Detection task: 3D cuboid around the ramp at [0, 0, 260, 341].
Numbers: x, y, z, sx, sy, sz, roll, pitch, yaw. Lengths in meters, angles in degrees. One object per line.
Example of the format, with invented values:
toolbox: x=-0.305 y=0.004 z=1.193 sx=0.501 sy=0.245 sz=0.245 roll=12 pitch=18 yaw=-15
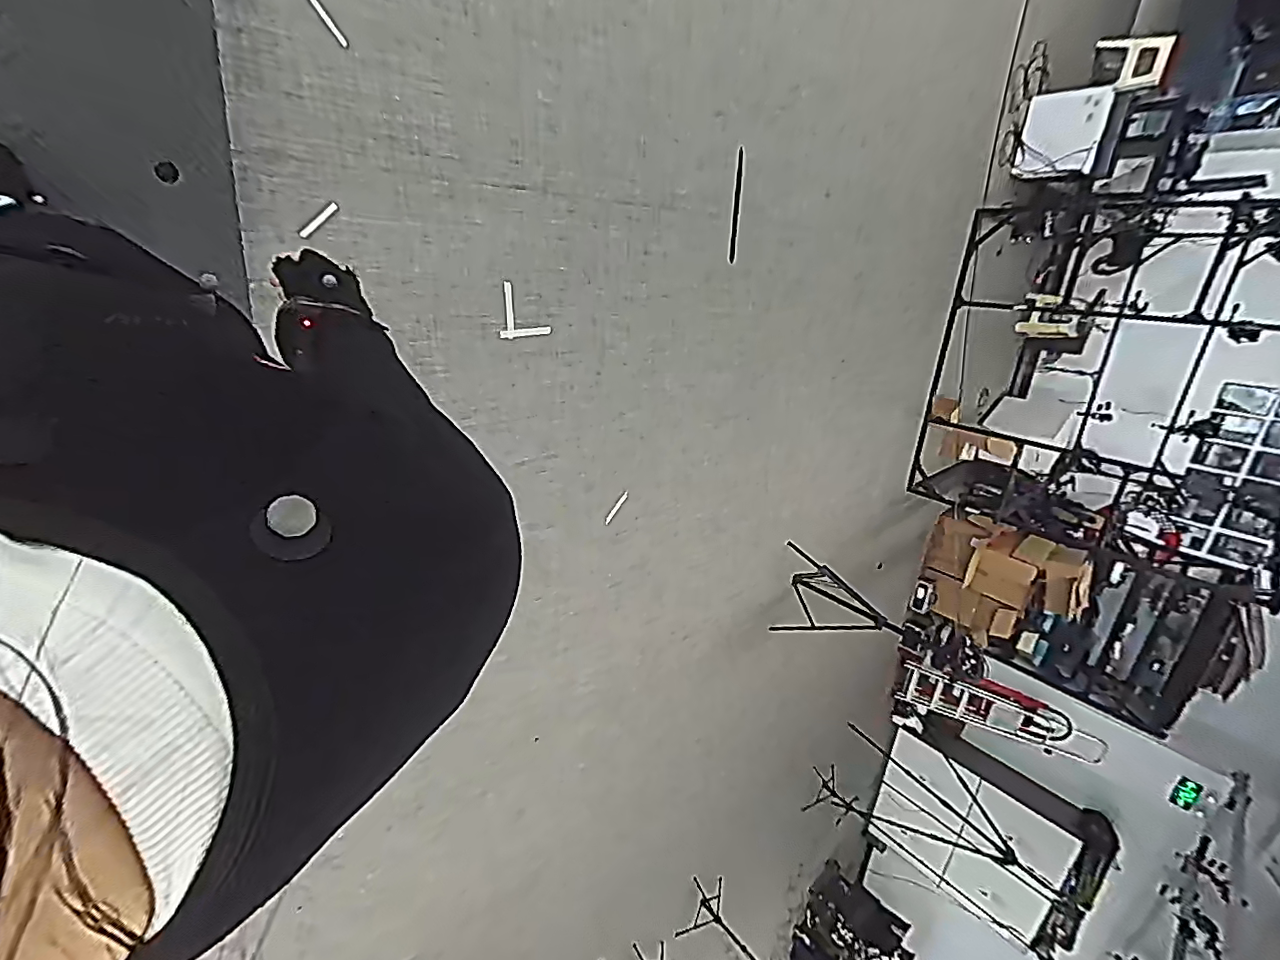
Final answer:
ramp: x=-0.942 y=-0.711 z=0.827 sx=0.509 sy=0.206 sz=0.991 roll=-17 pitch=118 yaw=-40
